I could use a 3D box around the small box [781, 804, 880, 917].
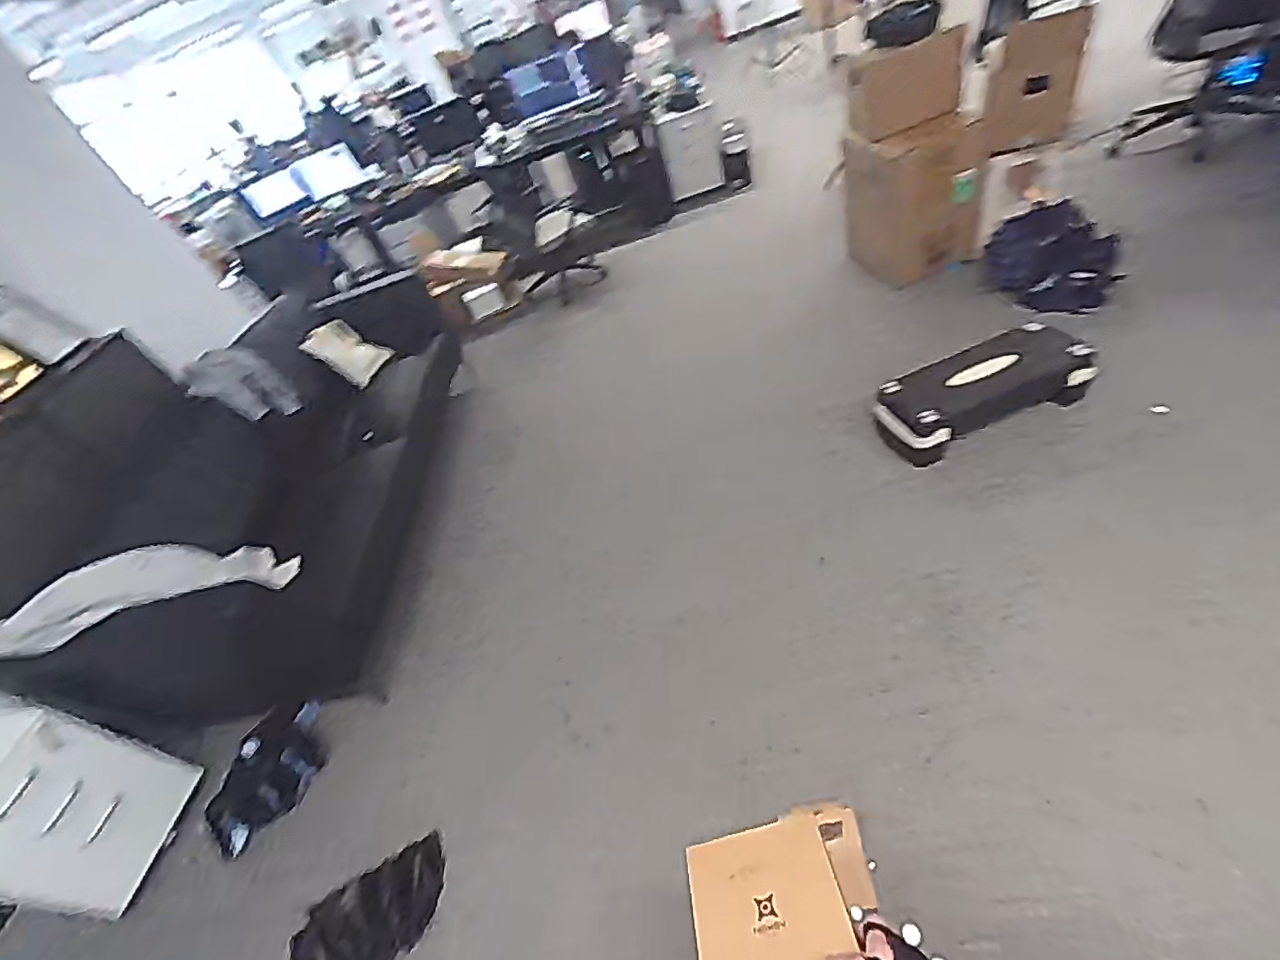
[{"bbox_3d":[0.413,0.834,1.181,0.168,0.176,0.179,-13,44,13],"label":"small box"}]

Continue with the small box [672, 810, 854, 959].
[{"bbox_3d":[0.149,0.530,0.619,0.168,0.176,0.179,-20,25,5],"label":"small box"}]
